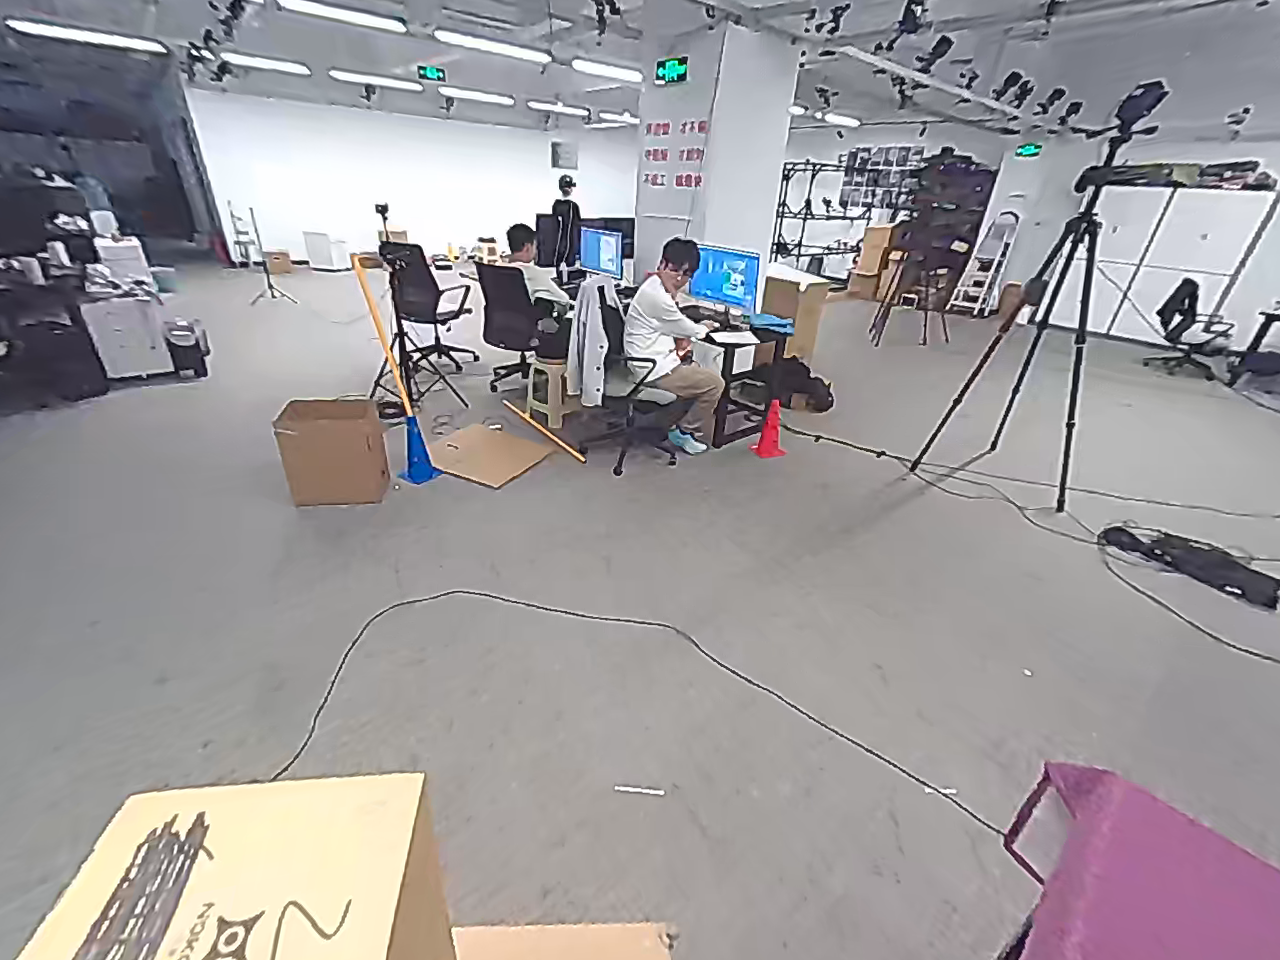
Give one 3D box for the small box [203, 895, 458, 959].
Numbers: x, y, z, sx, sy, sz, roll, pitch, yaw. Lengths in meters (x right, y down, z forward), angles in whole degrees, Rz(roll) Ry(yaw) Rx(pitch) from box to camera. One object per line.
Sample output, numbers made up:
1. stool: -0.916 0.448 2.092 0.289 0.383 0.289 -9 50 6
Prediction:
1. small box: -0.237 0.449 0.404 0.179 0.176 0.168 0 29 -8
